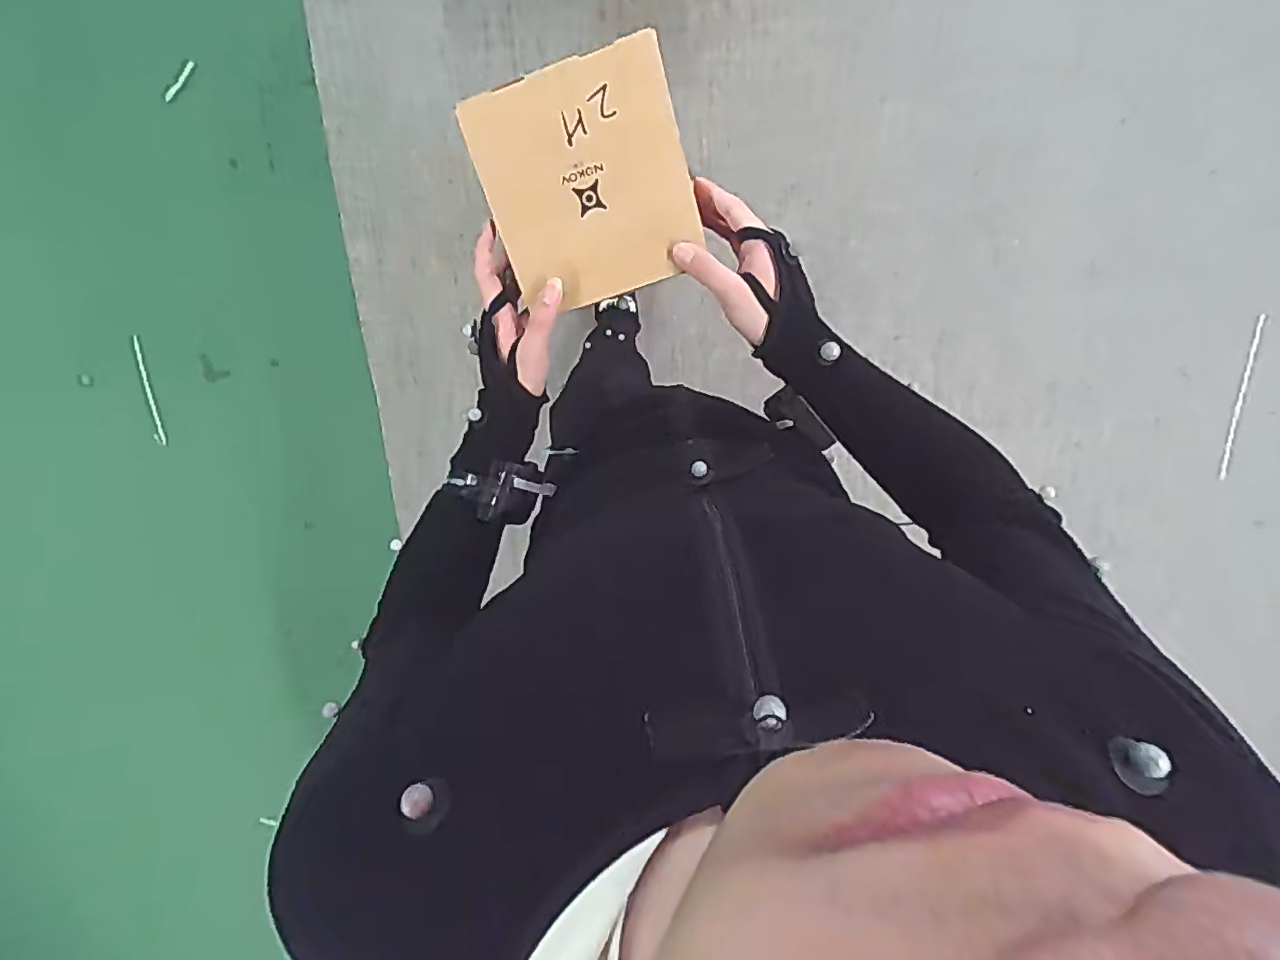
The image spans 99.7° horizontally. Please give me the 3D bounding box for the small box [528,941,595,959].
[{"bbox_3d":[-0.164,1.088,1.093,0.168,0.176,0.179,-38,102,9],"label":"small box"}]
